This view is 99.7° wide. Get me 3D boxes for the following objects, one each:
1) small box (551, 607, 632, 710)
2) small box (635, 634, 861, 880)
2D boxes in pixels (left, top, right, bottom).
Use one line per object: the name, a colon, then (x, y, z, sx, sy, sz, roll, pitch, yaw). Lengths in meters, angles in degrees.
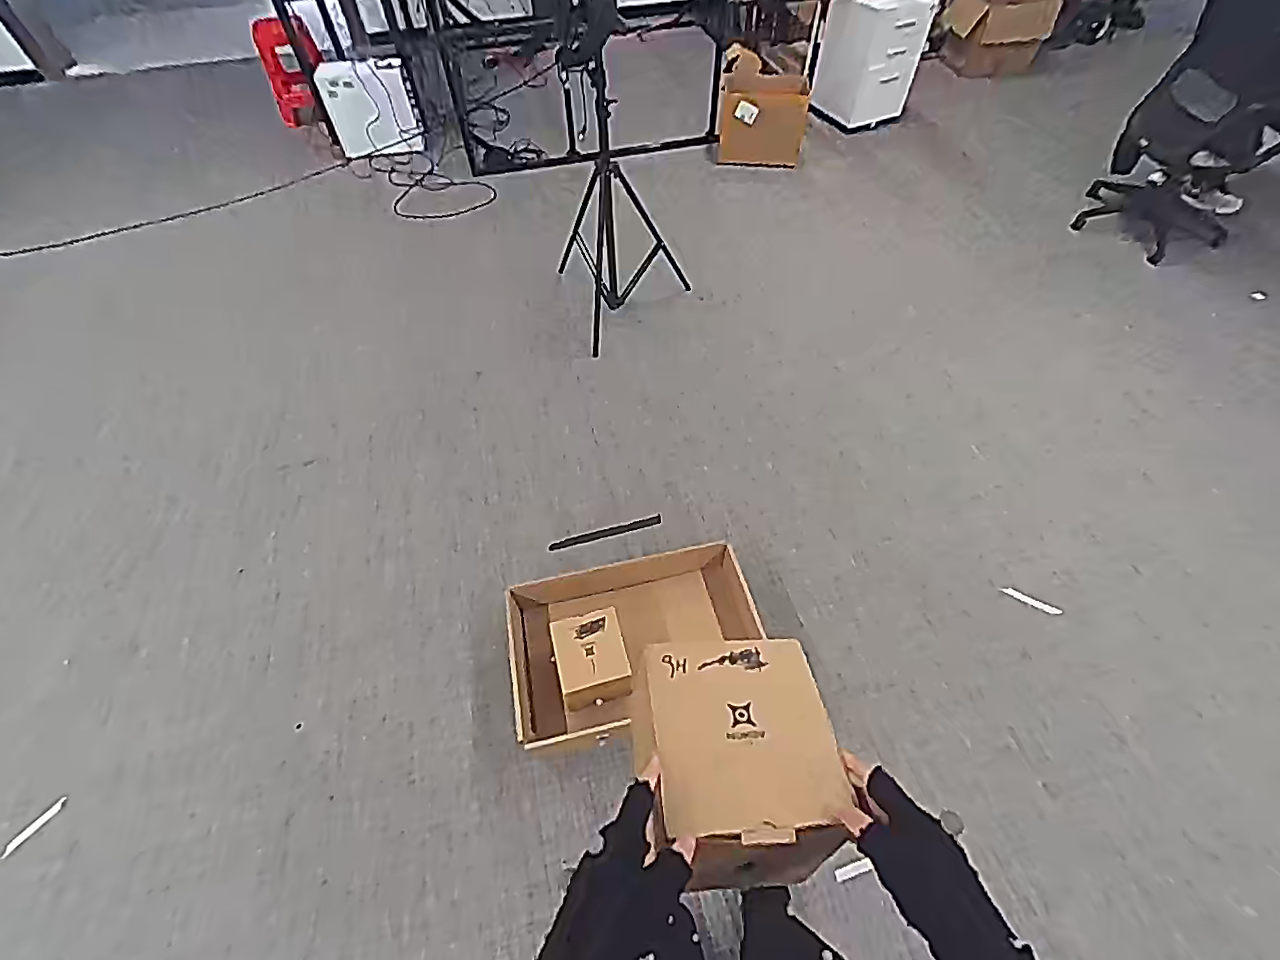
small box: (-0.119, 0.446, 1.347, 0.168, 0.176, 0.179, -13, 55, -9)
small box: (0.087, 0.277, 0.541, 0.168, 0.176, 0.179, 0, 41, -7)
